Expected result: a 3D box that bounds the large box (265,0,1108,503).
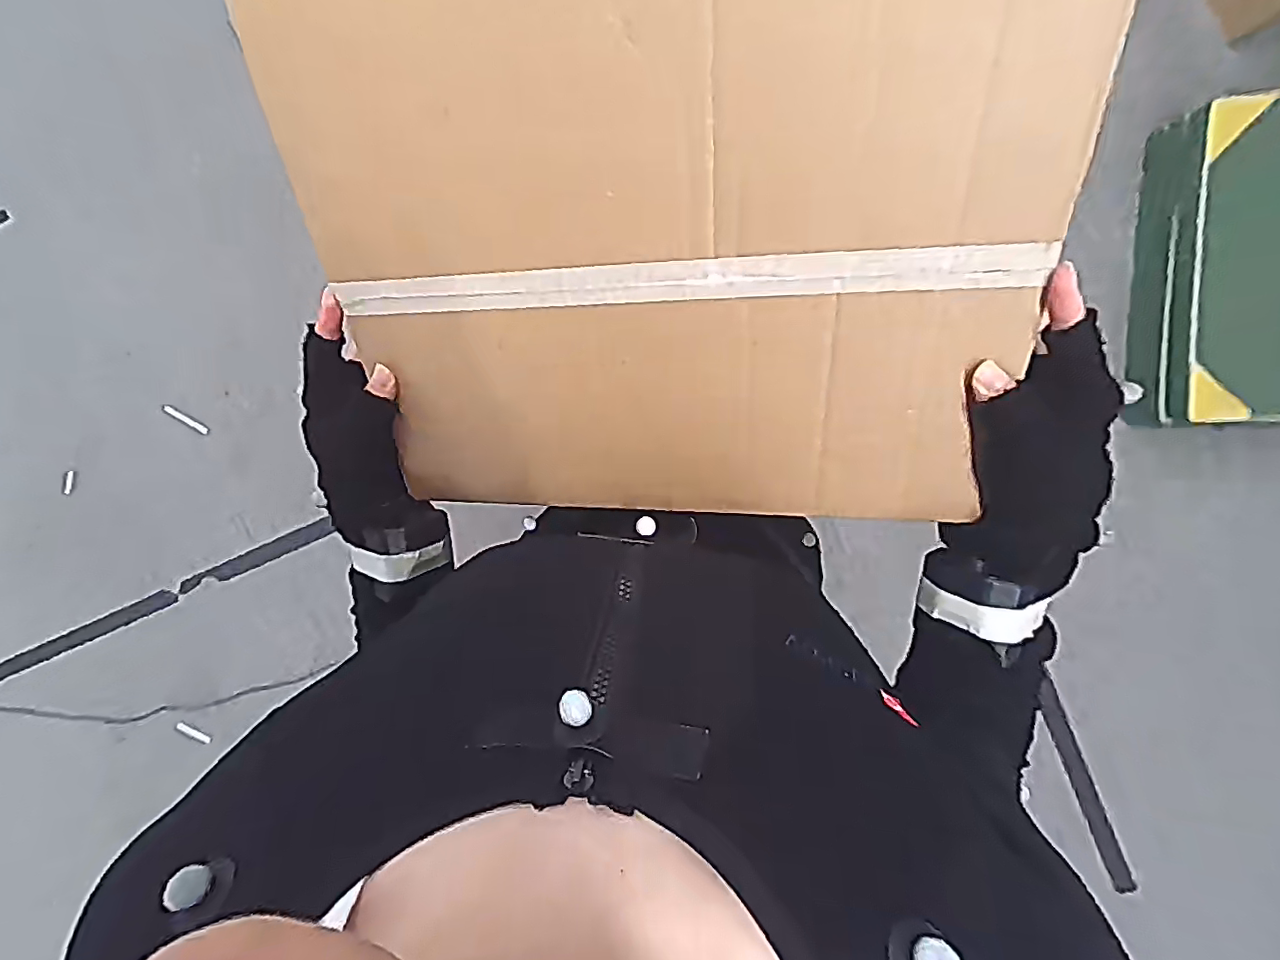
[{"bbox_3d":[0.035,-0.195,0.439,0.408,0.320,0.320,2,123,11],"label":"large box"}]
